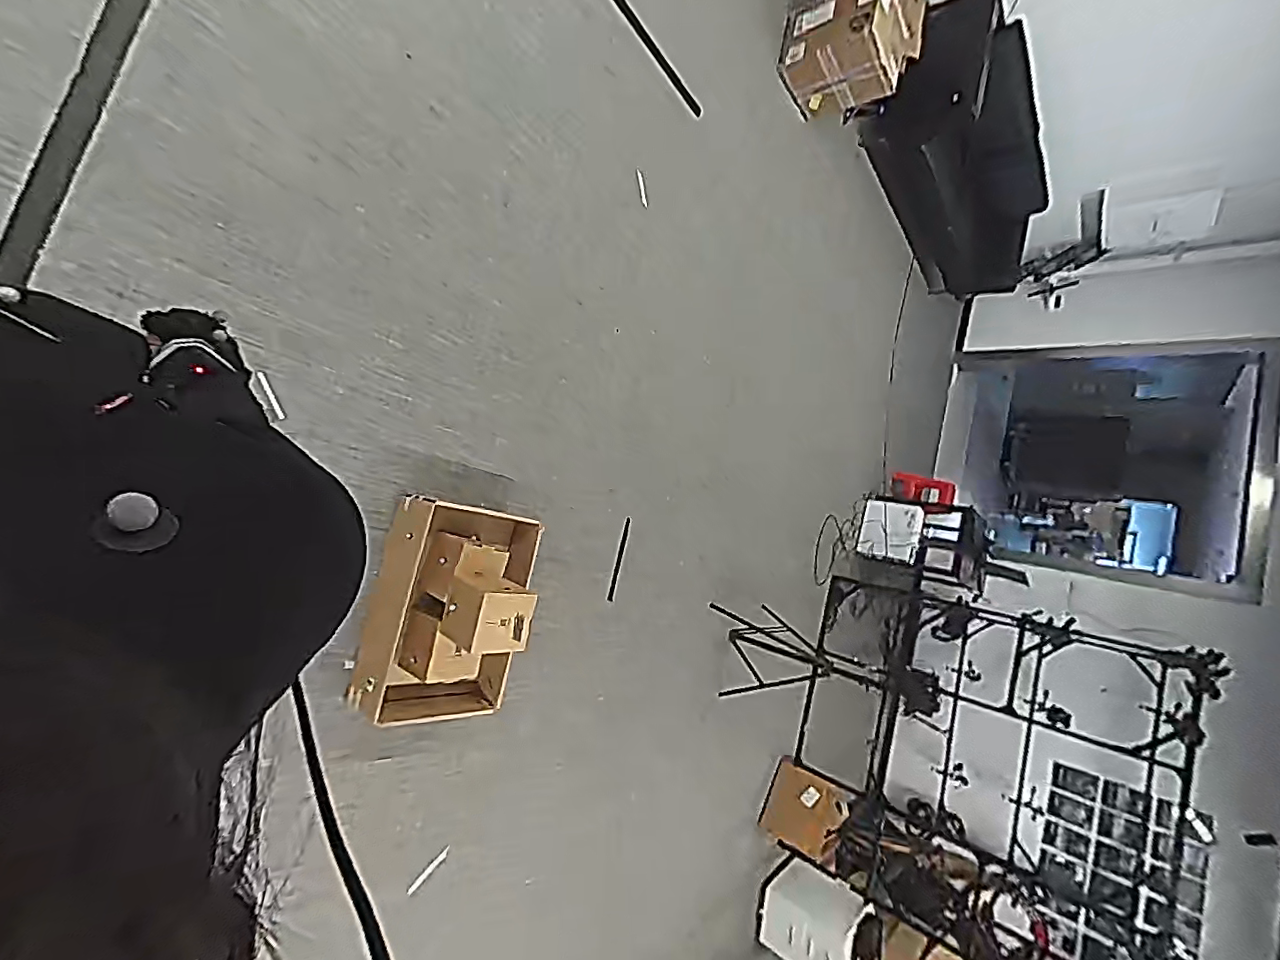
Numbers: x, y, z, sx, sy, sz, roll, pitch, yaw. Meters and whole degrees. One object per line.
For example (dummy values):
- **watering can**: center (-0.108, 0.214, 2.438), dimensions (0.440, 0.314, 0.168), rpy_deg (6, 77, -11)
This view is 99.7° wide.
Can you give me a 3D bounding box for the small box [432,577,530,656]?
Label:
- **small box**: center (-0.440, 0.372, 1.494), dimensions (0.179, 0.176, 0.168), rpy_deg (17, 86, -48)
